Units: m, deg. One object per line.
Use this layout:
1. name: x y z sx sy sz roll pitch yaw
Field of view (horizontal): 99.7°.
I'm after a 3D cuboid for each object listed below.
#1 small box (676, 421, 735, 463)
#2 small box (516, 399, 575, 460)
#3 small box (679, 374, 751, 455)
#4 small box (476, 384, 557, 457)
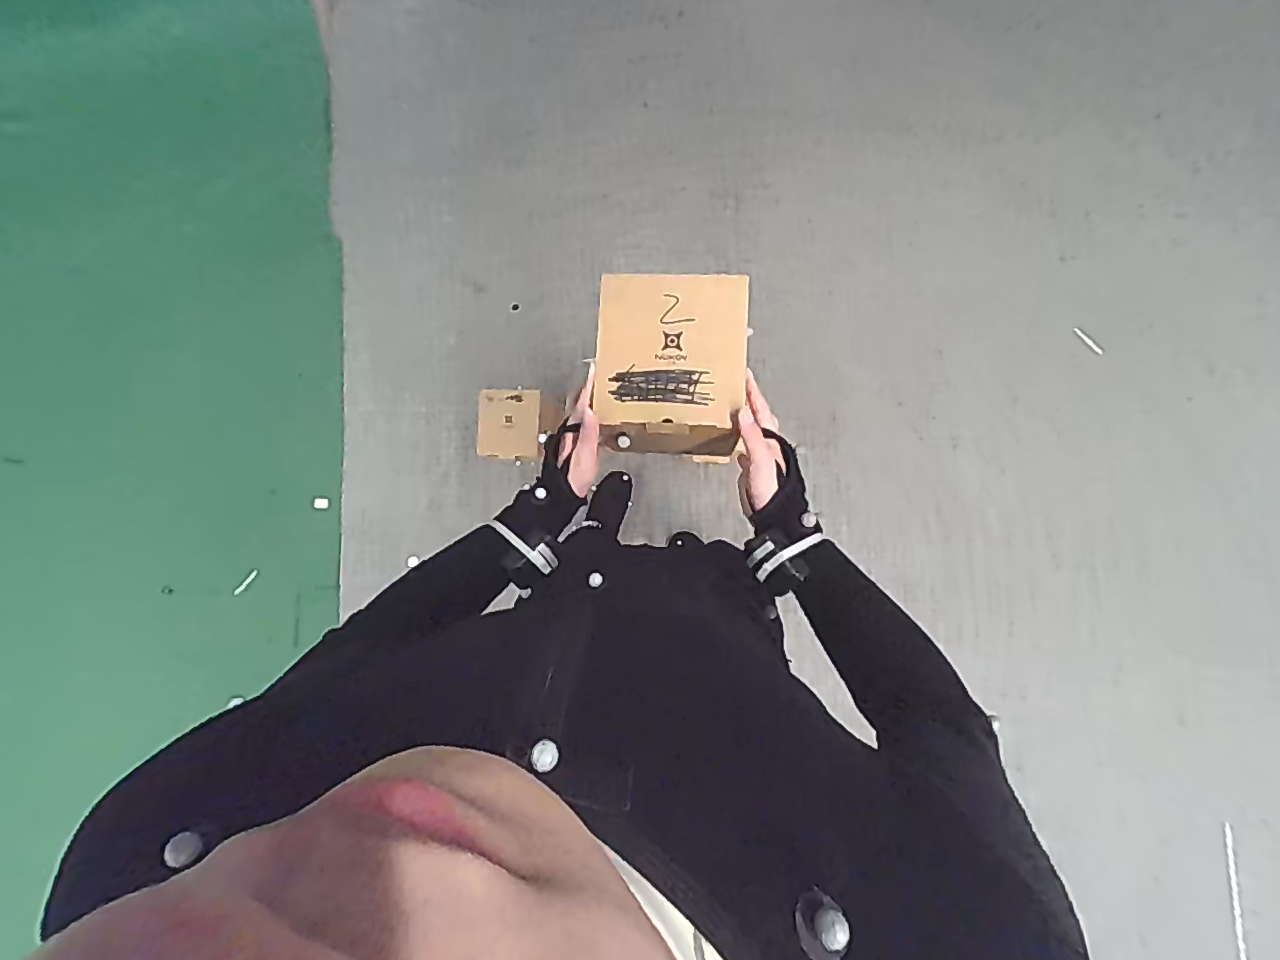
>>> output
1. small box: 0.203 -0.153 1.561 0.168 0.176 0.179 10 89 9
2. small box: -0.304 -0.151 1.625 0.179 0.176 0.168 4 88 7
3. small box: 0.191 -0.165 1.401 0.168 0.176 0.179 4 88 6
4. small box: -0.329 -0.156 1.463 0.168 0.176 0.179 3 89 7
